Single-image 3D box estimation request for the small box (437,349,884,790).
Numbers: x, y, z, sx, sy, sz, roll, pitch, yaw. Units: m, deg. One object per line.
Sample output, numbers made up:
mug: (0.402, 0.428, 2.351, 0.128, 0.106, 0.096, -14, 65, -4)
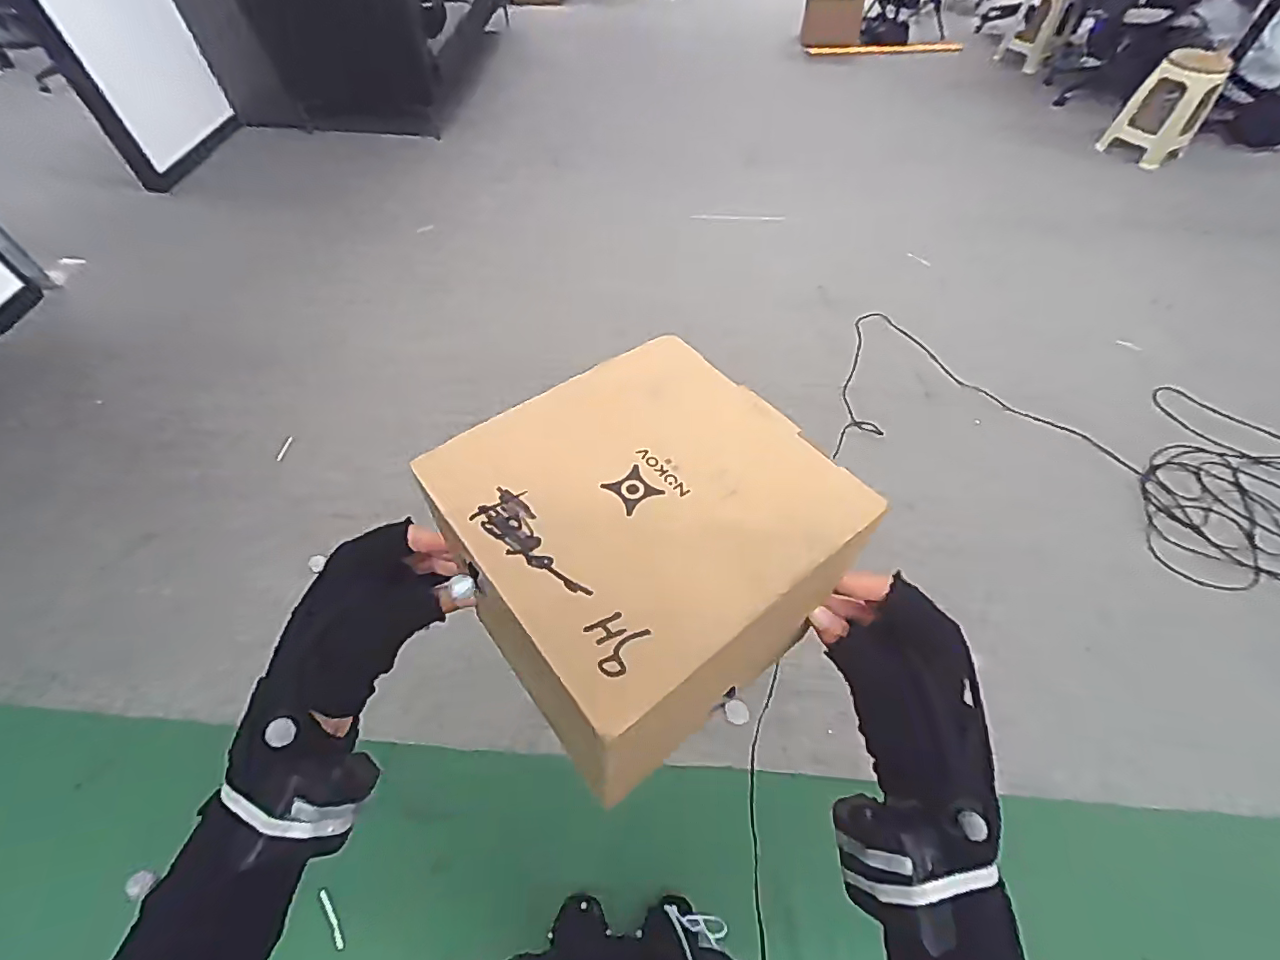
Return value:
small box: (0.005, 0.055, 0.339, 0.179, 0.176, 0.168, -30, 59, -25)
